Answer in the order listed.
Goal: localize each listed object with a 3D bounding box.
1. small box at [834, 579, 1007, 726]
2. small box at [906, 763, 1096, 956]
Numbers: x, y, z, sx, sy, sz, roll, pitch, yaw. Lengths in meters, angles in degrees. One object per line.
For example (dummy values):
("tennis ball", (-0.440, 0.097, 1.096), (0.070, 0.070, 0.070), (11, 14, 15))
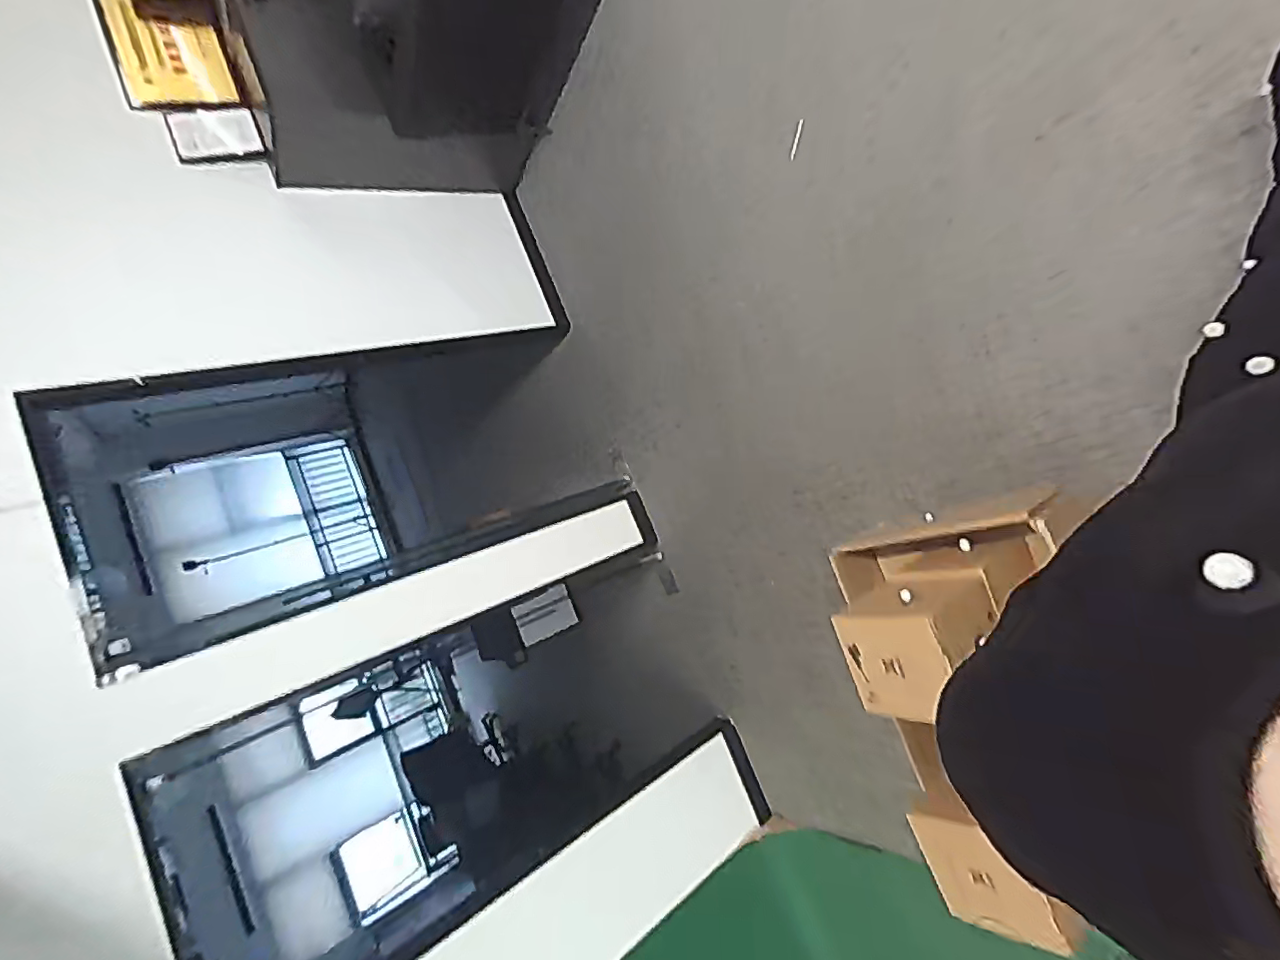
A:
("small box", (0.455, 0.267, 0.871), (0.179, 0.176, 0.168), (-23, 84, 56))
("small box", (0.568, 0.572, 0.847), (0.179, 0.176, 0.168), (-34, 76, 56))
